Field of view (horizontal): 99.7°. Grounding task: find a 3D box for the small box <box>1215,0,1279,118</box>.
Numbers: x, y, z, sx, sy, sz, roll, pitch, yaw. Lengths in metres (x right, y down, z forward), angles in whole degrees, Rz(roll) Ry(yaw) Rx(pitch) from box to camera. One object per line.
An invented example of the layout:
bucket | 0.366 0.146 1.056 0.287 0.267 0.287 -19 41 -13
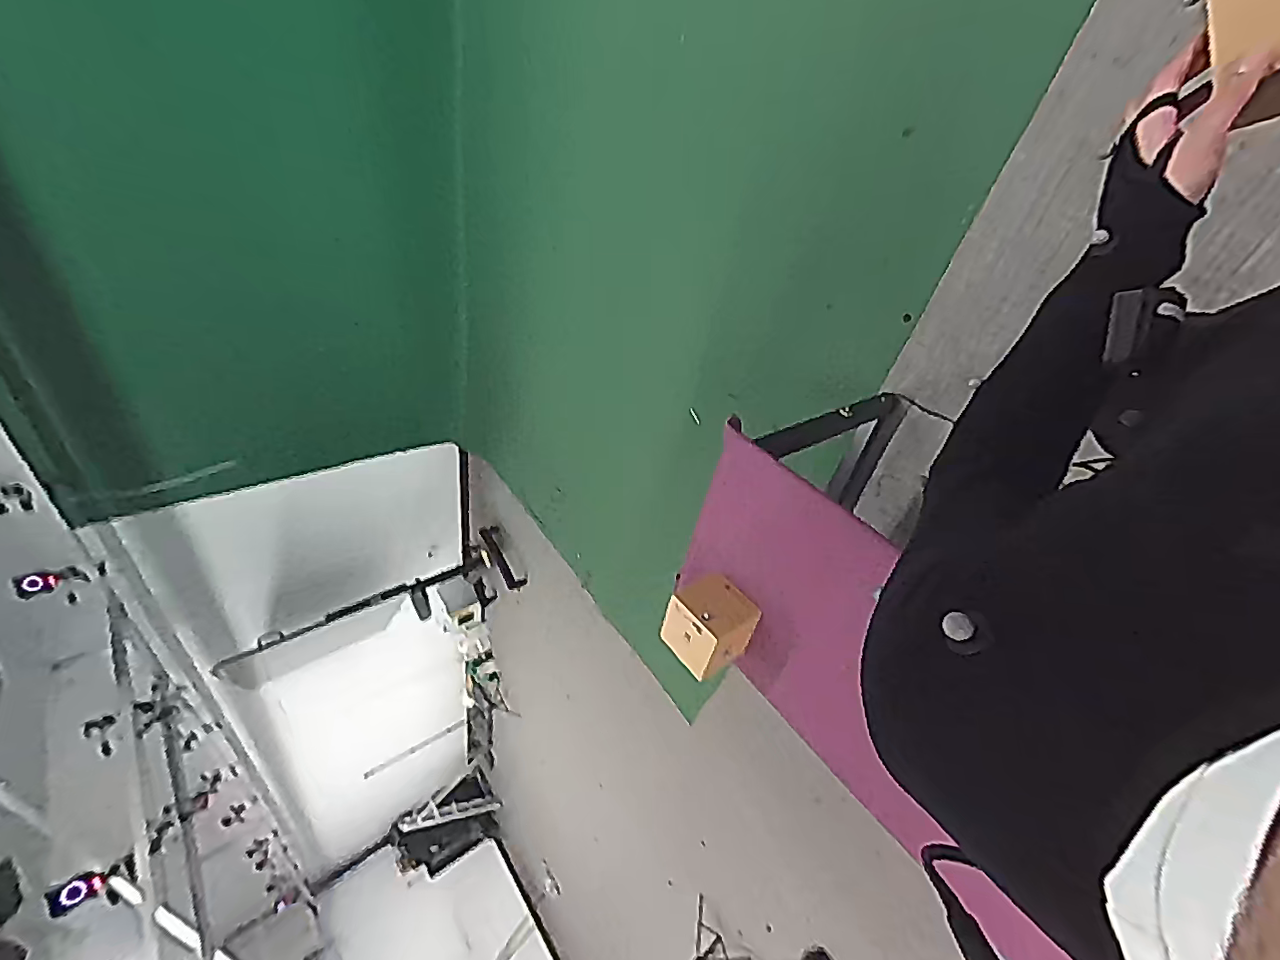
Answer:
small box | 0.536 -0.407 0.390 0.168 0.176 0.179 -3 100 49

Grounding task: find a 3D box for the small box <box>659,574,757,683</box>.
small box | 0.176 0.379 1.399 0.168 0.176 0.179 41 135 34
